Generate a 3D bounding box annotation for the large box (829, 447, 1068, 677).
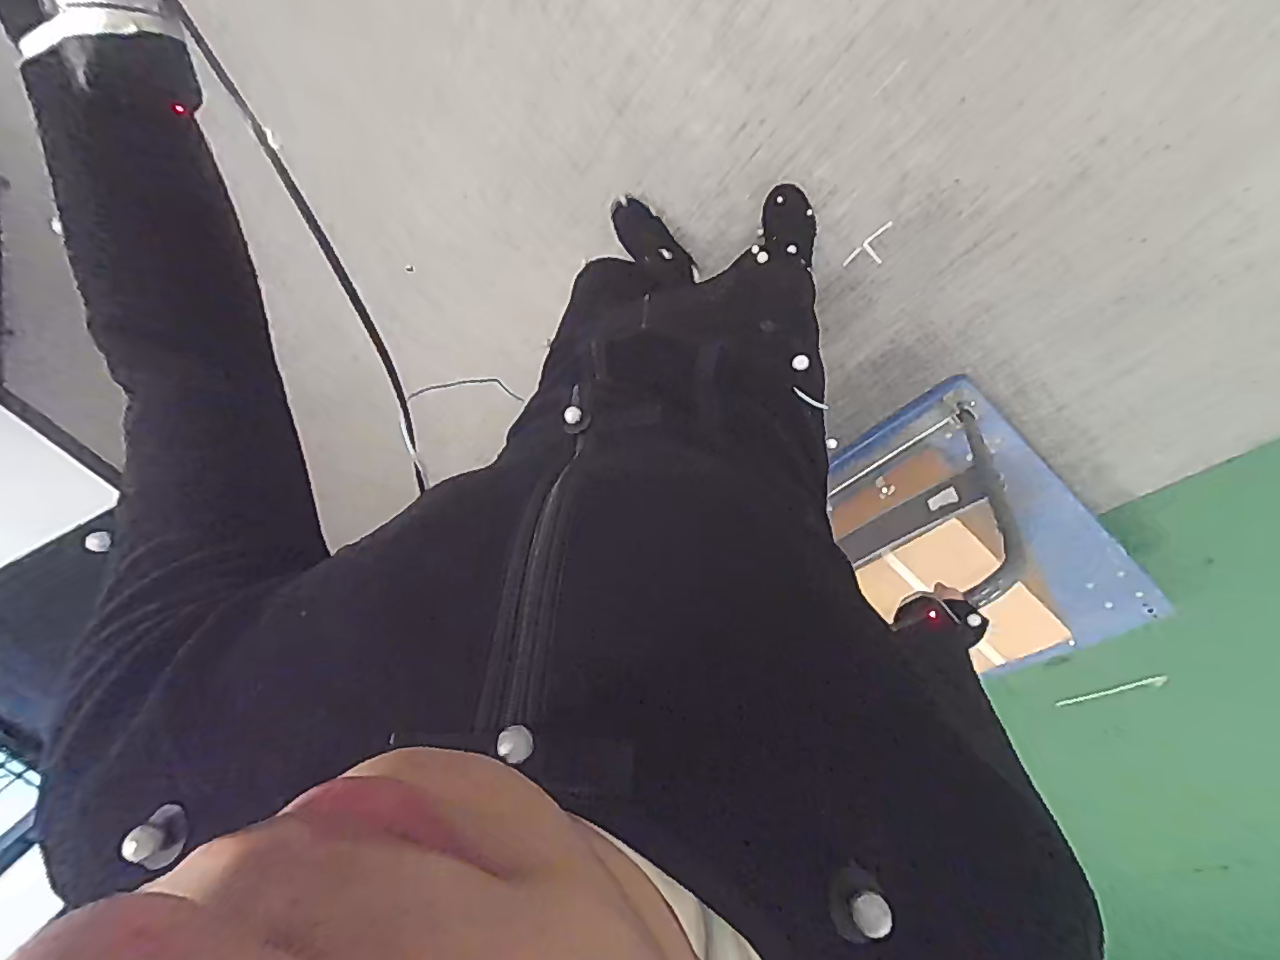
[{"bbox_3d":[0.722,0.197,1.332,0.408,0.320,0.320,41,126,-10],"label":"large box"}]
